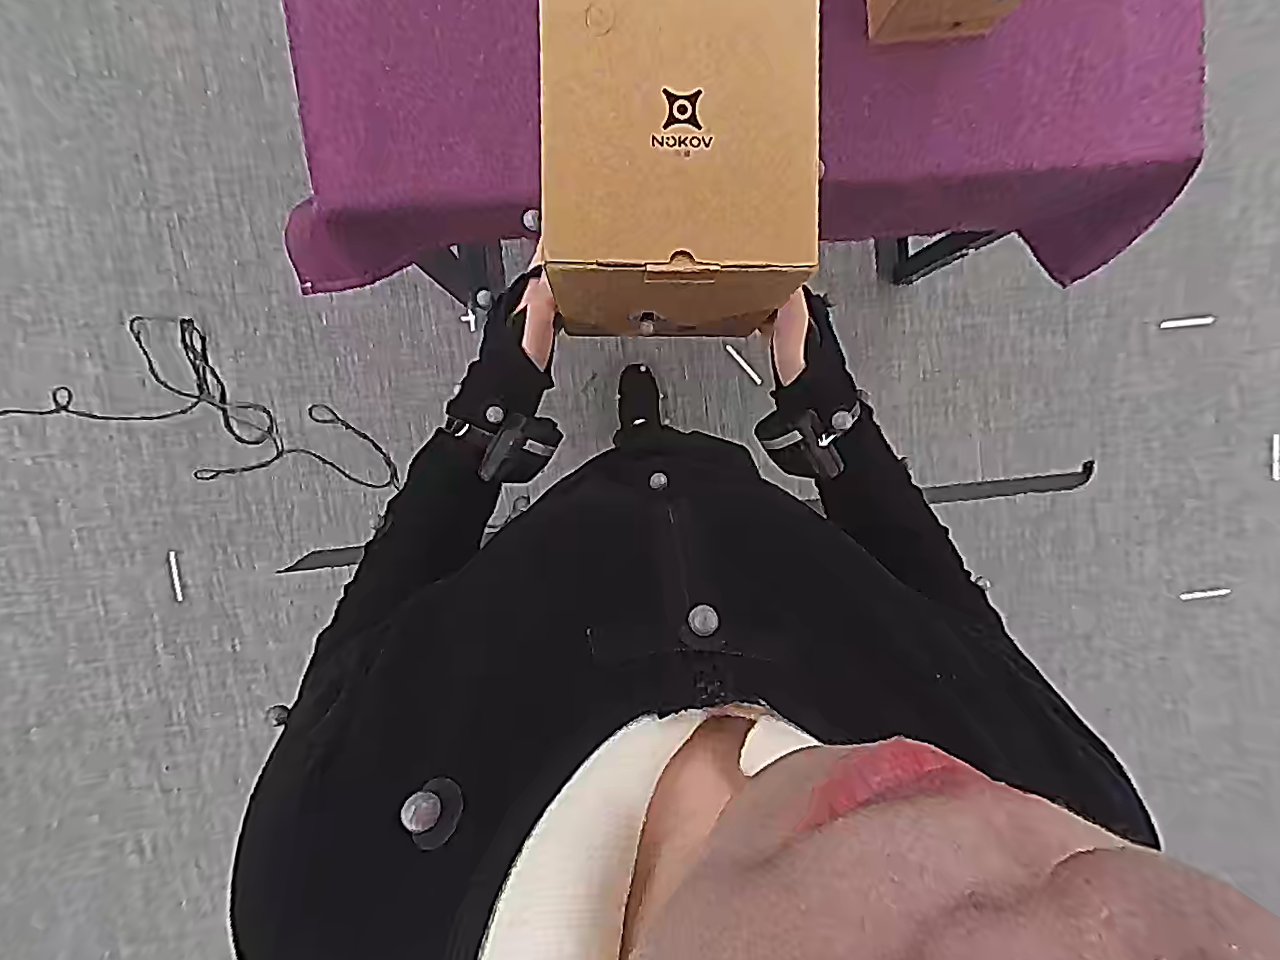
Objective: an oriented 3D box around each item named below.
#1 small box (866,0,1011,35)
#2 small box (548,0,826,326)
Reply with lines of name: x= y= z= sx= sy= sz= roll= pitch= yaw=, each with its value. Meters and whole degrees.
small box: x=0.380 y=-0.666 z=0.635 sx=0.168 sy=0.176 sz=0.179 roll=-6 pitch=95 yaw=-3
small box: x=0.022 y=-0.221 z=0.394 sx=0.168 sy=0.176 sz=0.179 roll=-1 pitch=93 yaw=-4
